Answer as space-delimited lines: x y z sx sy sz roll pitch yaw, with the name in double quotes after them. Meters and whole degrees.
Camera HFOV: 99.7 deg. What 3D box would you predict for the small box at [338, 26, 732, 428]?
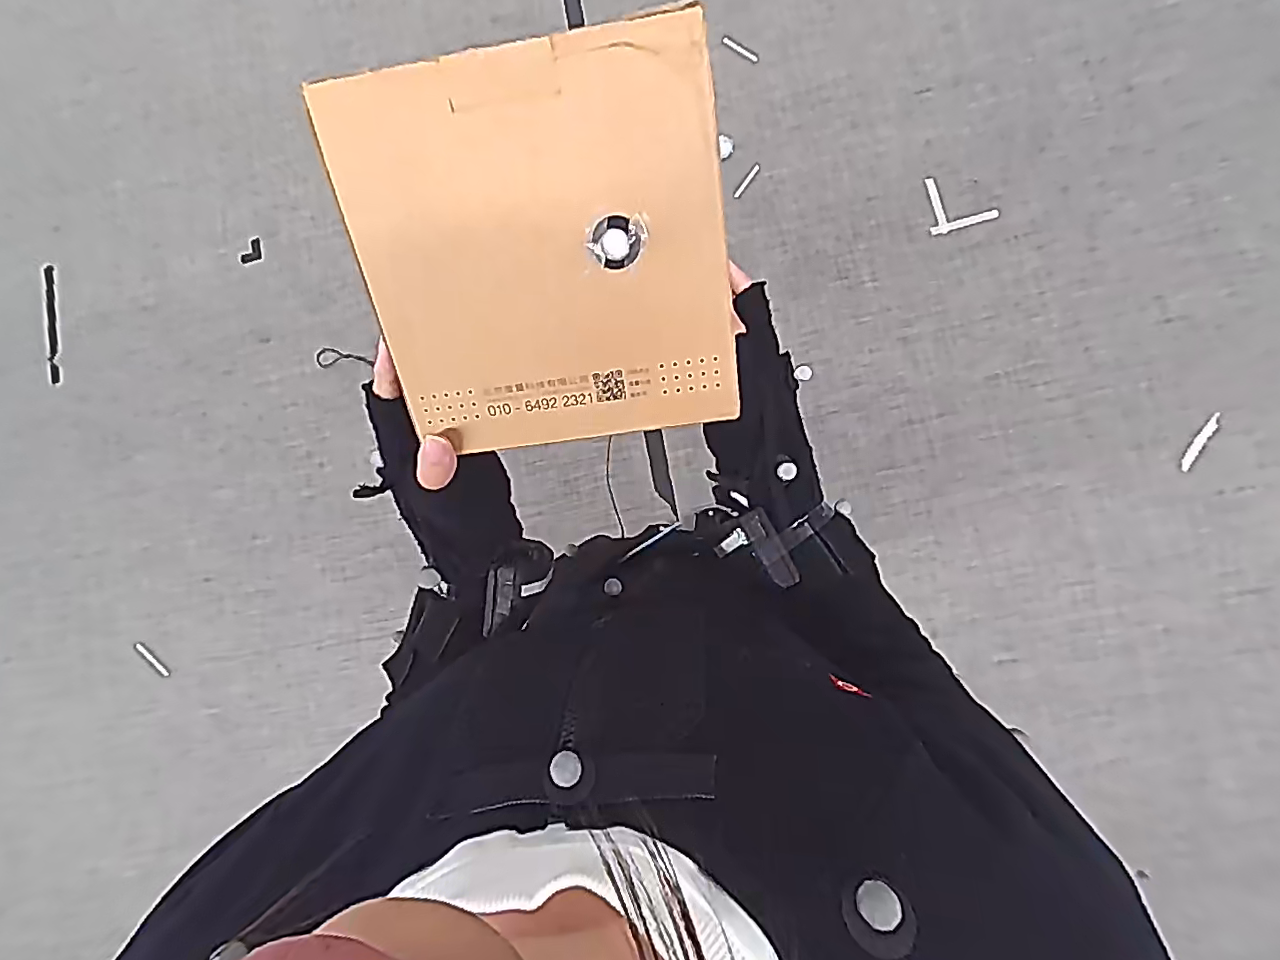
-0.037 -0.136 0.336 0.168 0.179 0.176 -6 115 7 "small box"
